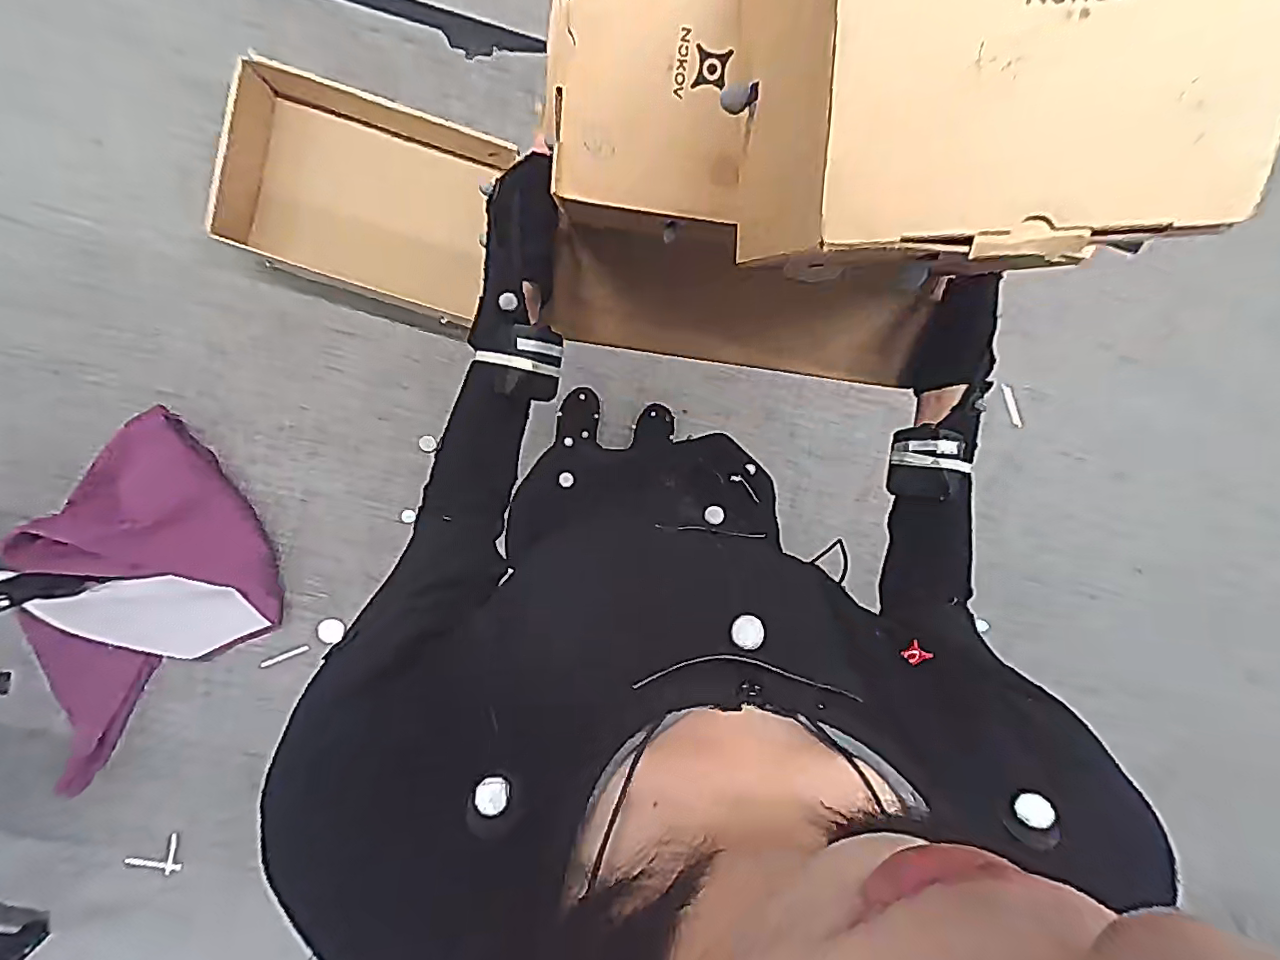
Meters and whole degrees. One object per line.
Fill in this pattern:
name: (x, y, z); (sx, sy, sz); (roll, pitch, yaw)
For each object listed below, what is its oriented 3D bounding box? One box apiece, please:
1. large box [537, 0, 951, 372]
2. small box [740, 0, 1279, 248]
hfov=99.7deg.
large box: (0.101, -0.320, 0.644); (0.408, 0.320, 0.320); (6, 109, -5)
small box: (0.145, -0.208, 0.255); (0.168, 0.176, 0.179); (-3, 110, 0)
